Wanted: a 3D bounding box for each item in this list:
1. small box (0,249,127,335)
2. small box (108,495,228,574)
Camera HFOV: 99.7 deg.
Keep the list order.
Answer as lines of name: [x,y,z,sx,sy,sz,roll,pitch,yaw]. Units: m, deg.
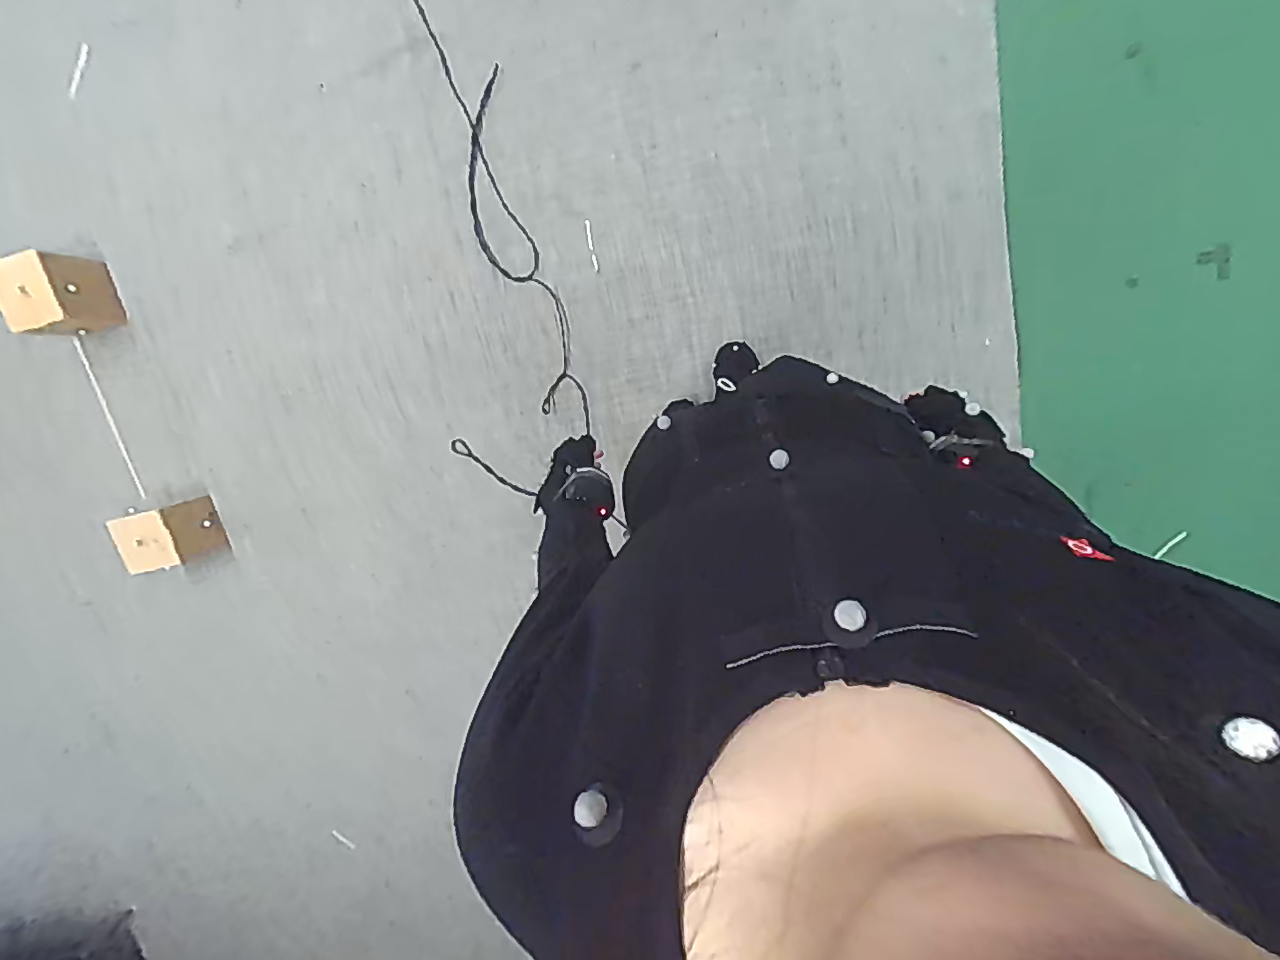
small box: [-1.542,-0.492,1.438,0.168,0.176,0.179,-12,103,7]
small box: [-1.370,0.156,1.580,0.179,0.176,0.168,-12,103,8]
